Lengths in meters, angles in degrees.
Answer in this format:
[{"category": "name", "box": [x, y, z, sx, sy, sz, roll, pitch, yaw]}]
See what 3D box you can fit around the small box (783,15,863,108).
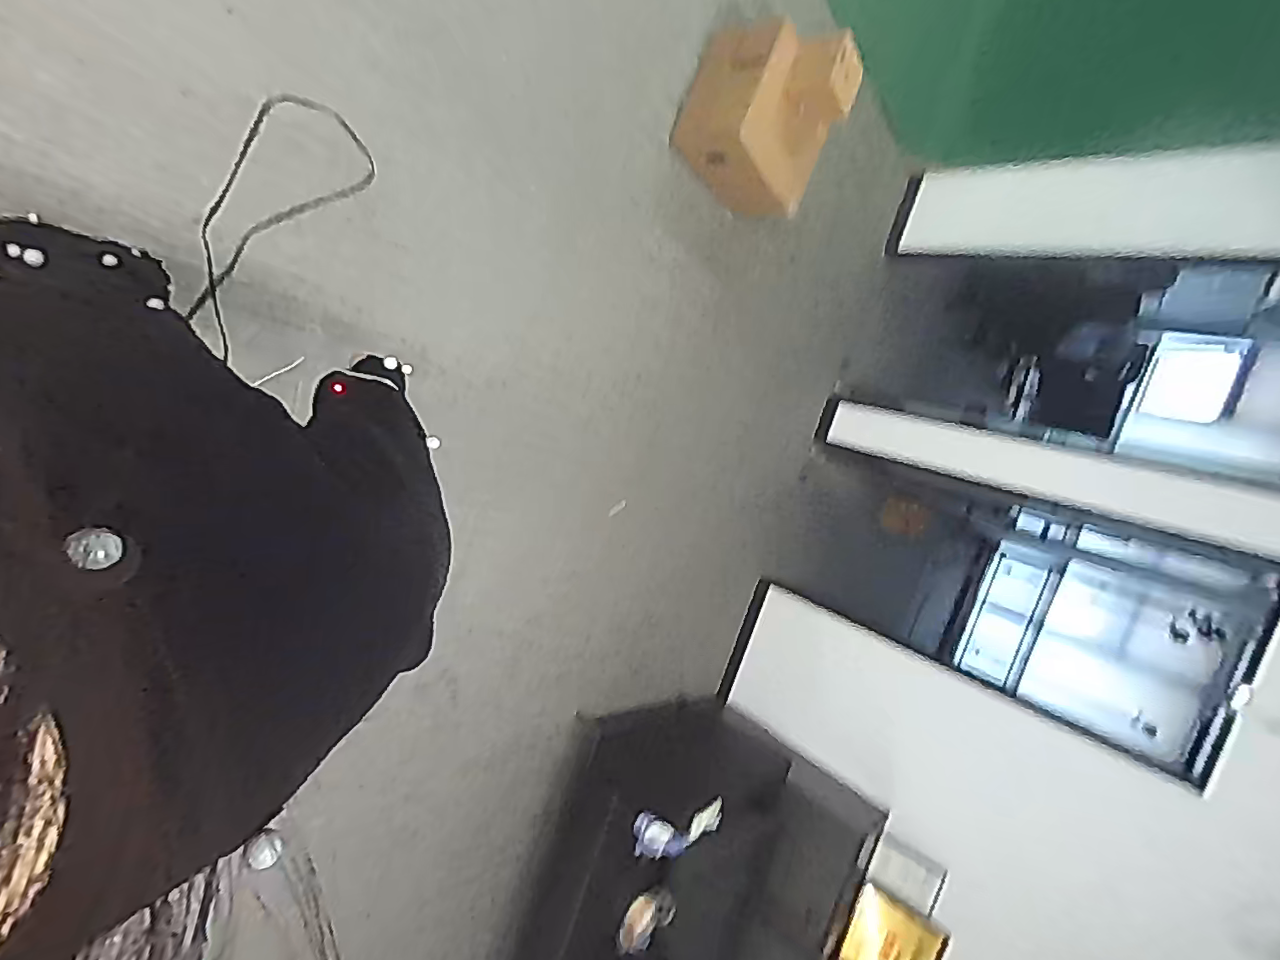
[{"category": "small box", "box": [0.595, -1.352, 1.762, 0.179, 0.176, 0.168, 17, 93, -52]}]
